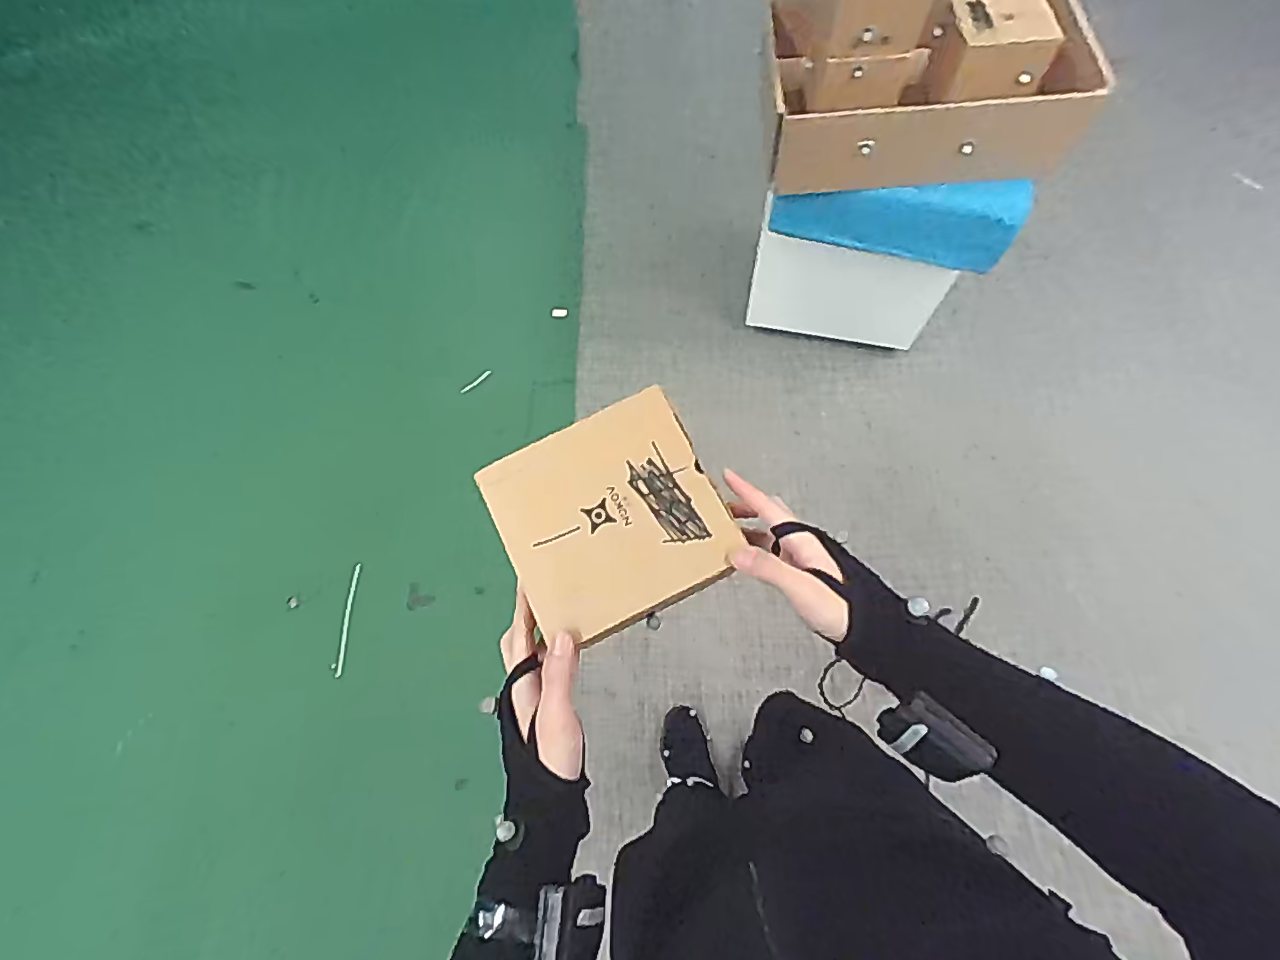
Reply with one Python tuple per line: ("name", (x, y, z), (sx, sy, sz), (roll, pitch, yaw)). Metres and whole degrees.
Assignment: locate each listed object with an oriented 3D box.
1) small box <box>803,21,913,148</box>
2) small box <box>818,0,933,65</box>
("small box", (0.450, -0.843, 1.146), (0.168, 0.176, 0.179), (-1, 67, 5))
("small box", (0.436, -0.910, 0.998), (0.168, 0.176, 0.179), (-2, 68, 4))
